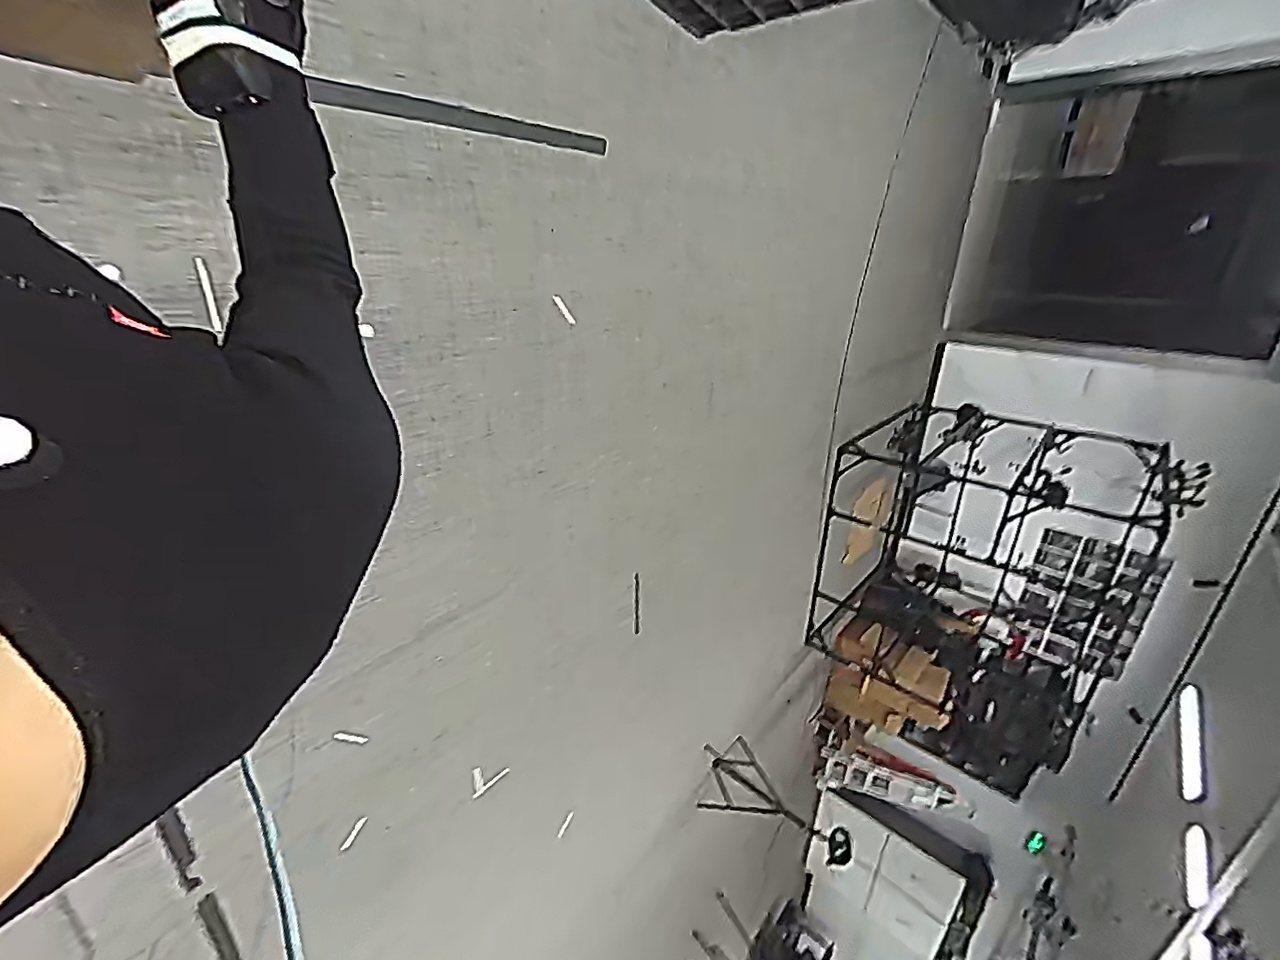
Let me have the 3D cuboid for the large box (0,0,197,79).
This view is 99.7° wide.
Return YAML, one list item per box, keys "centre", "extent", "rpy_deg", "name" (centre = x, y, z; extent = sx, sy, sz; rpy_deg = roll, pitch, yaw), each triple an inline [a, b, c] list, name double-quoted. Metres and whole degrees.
- centre: [-0.539, -0.468, 0.276]
  extent: [0.408, 0.320, 0.320]
  rpy_deg: [-18, 120, -45]
  name: "large box"
